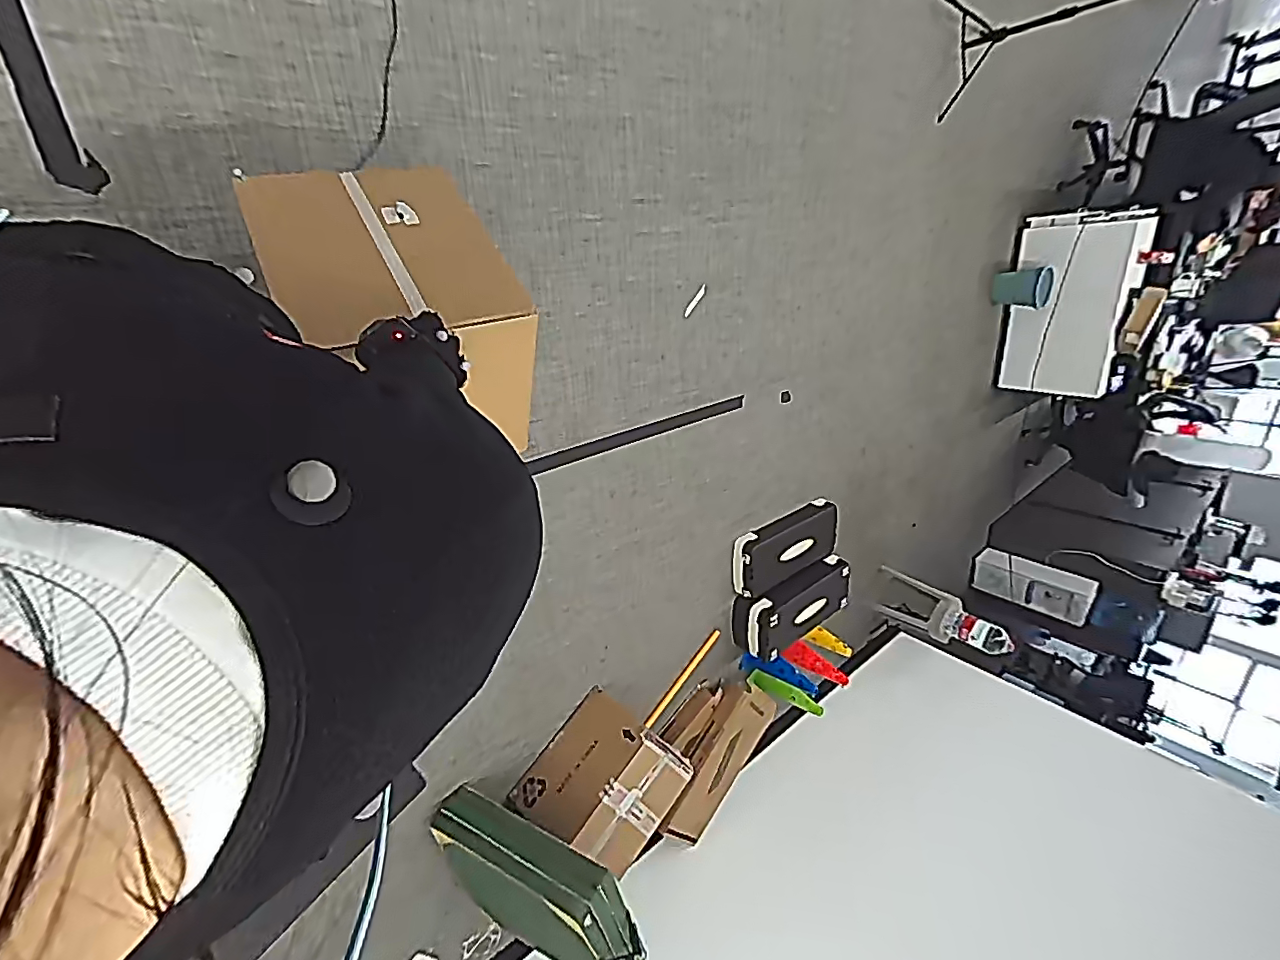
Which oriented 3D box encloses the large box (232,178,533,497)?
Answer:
[{"bbox_3d":[-0.413,-0.247,0.912,0.320,0.408,0.320,-20,151,-29],"label":"large box"}]
